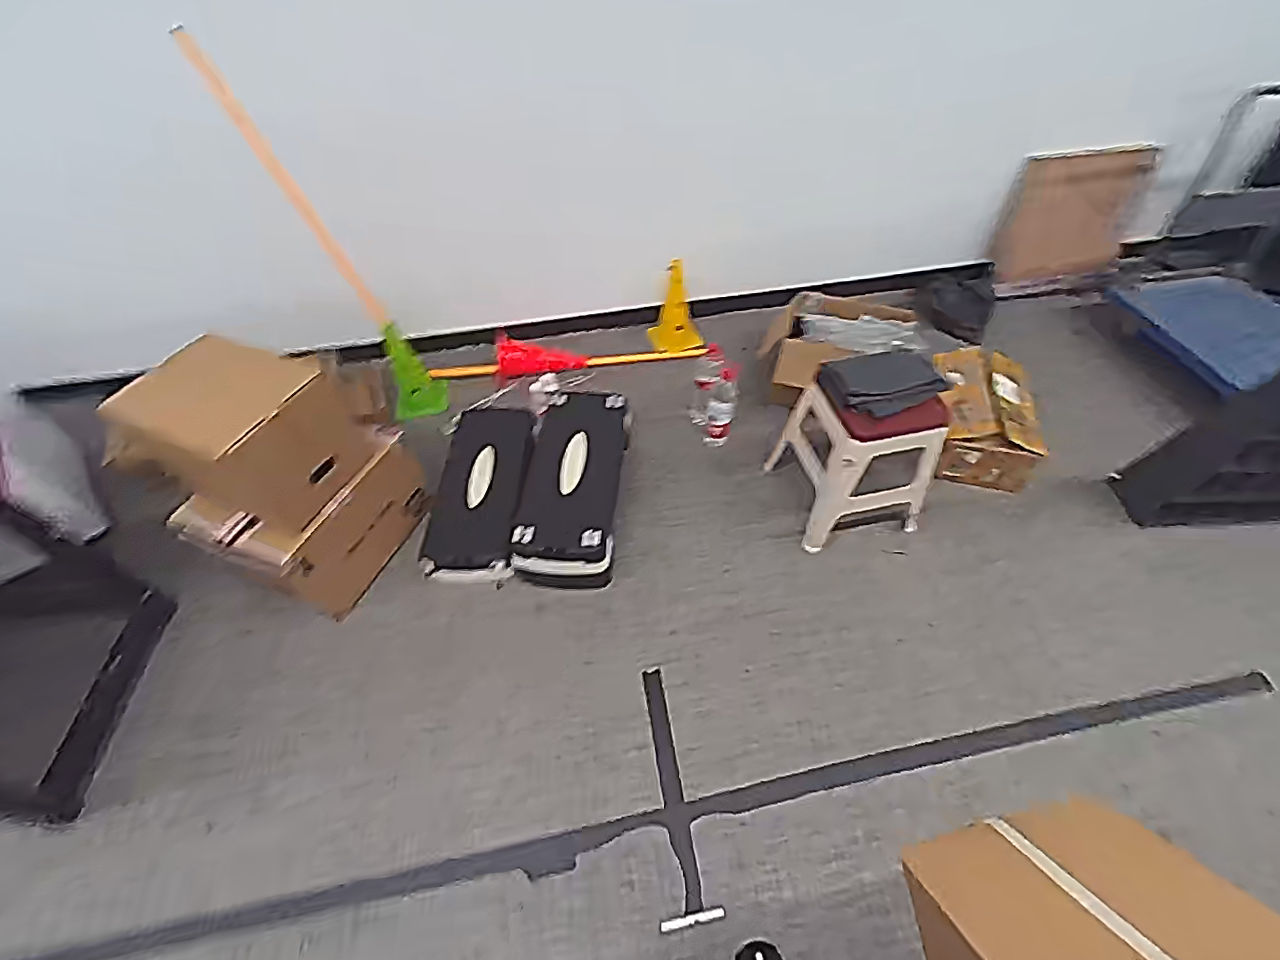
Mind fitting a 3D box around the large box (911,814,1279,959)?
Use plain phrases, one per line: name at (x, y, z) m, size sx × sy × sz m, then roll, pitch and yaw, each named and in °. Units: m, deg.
large box at (0.589, 0.678, 0.608) m, size 0.320 × 0.408 × 0.320 m, roll -14°, pitch 90°, yaw -4°
